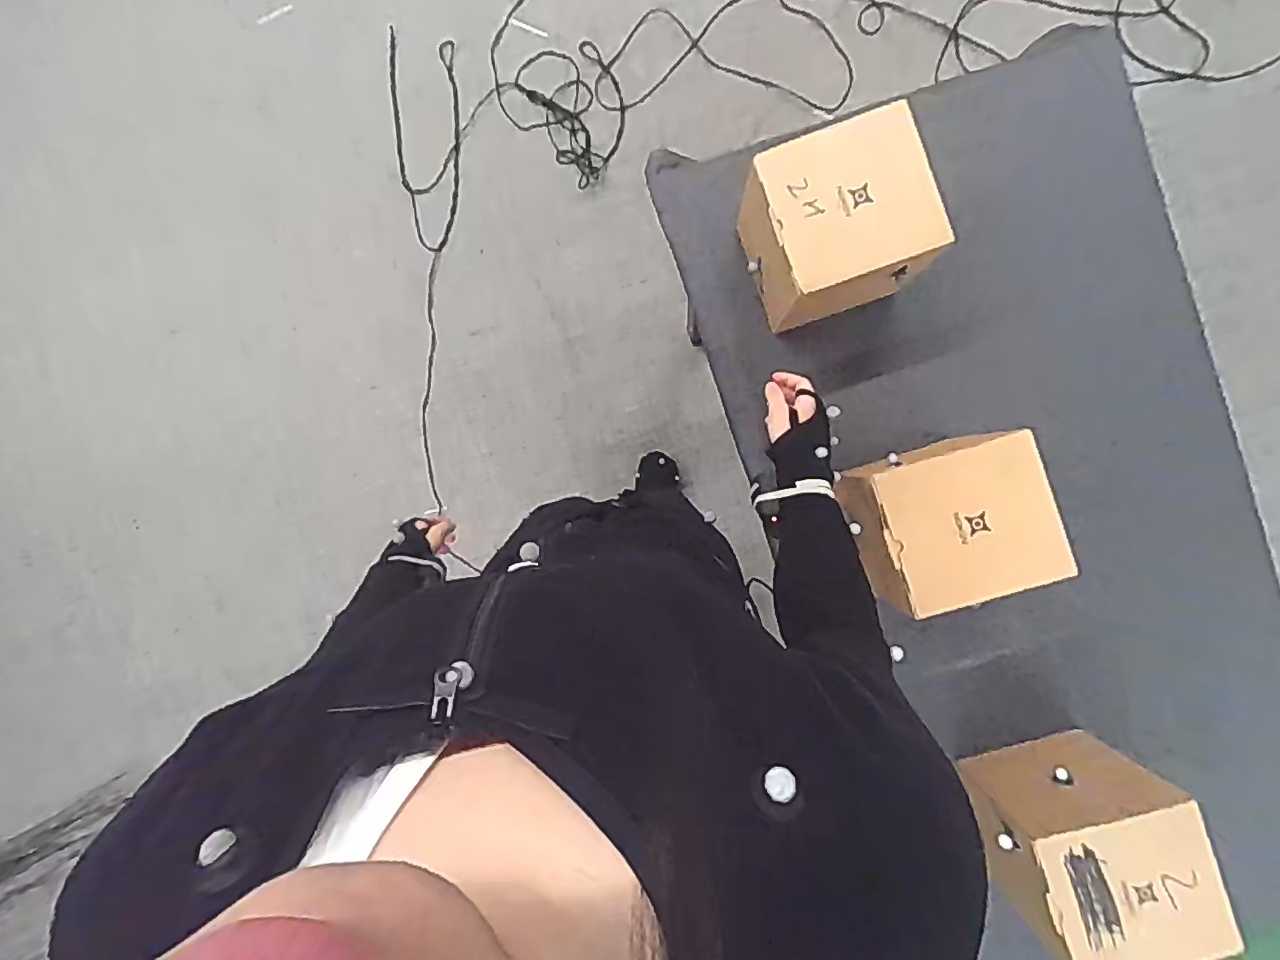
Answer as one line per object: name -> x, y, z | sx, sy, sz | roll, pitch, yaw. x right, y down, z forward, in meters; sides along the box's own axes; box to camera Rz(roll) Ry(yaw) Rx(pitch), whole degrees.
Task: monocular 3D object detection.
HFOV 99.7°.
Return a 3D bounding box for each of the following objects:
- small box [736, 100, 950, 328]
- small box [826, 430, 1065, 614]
small box -> 0.232, -0.308, 0.664 | 0.179, 0.176, 0.168 | -18, 90, 3
small box -> 0.357, 0.043, 0.664 | 0.179, 0.176, 0.168 | -17, 91, 2
